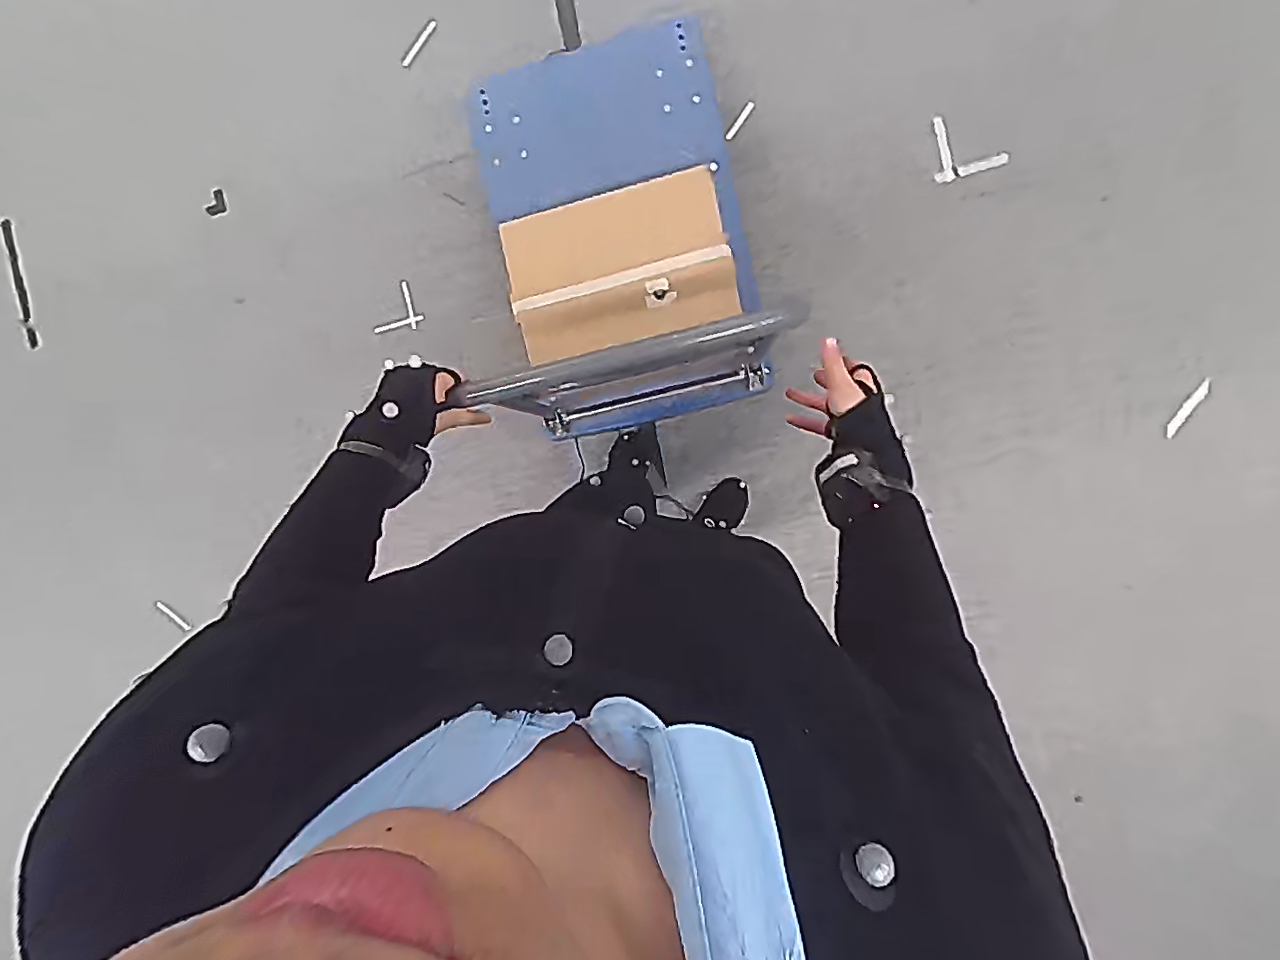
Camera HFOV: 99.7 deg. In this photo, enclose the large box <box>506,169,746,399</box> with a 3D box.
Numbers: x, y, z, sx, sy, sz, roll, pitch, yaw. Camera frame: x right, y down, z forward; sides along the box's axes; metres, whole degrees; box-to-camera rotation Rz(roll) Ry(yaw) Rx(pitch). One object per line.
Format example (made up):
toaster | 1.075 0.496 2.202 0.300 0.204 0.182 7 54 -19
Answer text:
large box | -0.016 -0.379 1.150 0.408 0.320 0.320 -12 94 7
